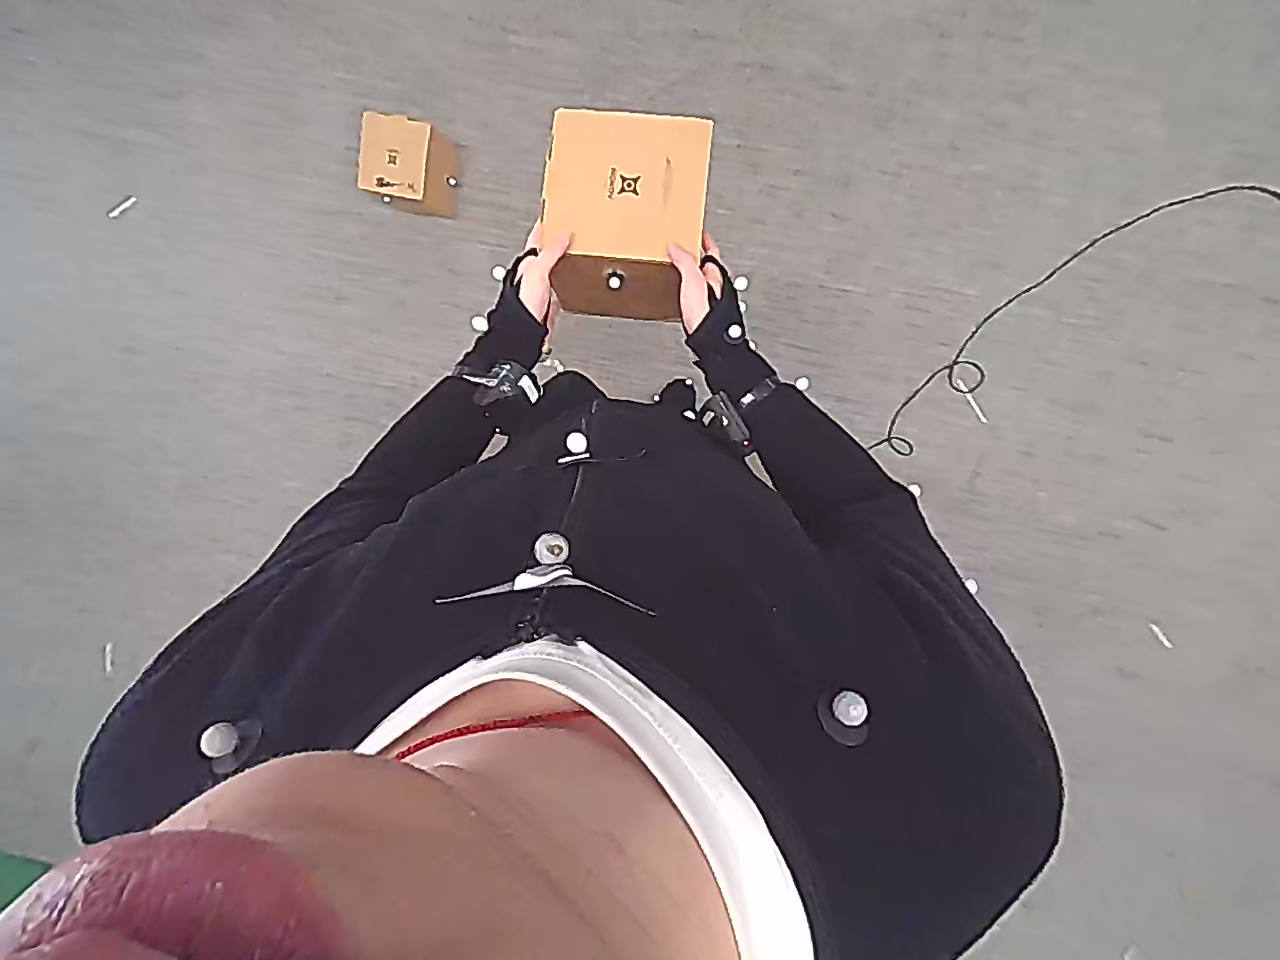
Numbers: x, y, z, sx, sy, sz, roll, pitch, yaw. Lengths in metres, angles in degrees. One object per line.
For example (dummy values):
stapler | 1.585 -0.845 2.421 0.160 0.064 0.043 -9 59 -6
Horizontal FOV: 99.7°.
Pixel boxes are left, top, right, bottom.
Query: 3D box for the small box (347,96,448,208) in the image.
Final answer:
small box | -0.600 -0.814 1.357 0.168 0.176 0.179 13 102 1

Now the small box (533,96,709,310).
small box | -0.019 -0.320 0.656 0.179 0.176 0.168 6 86 0
